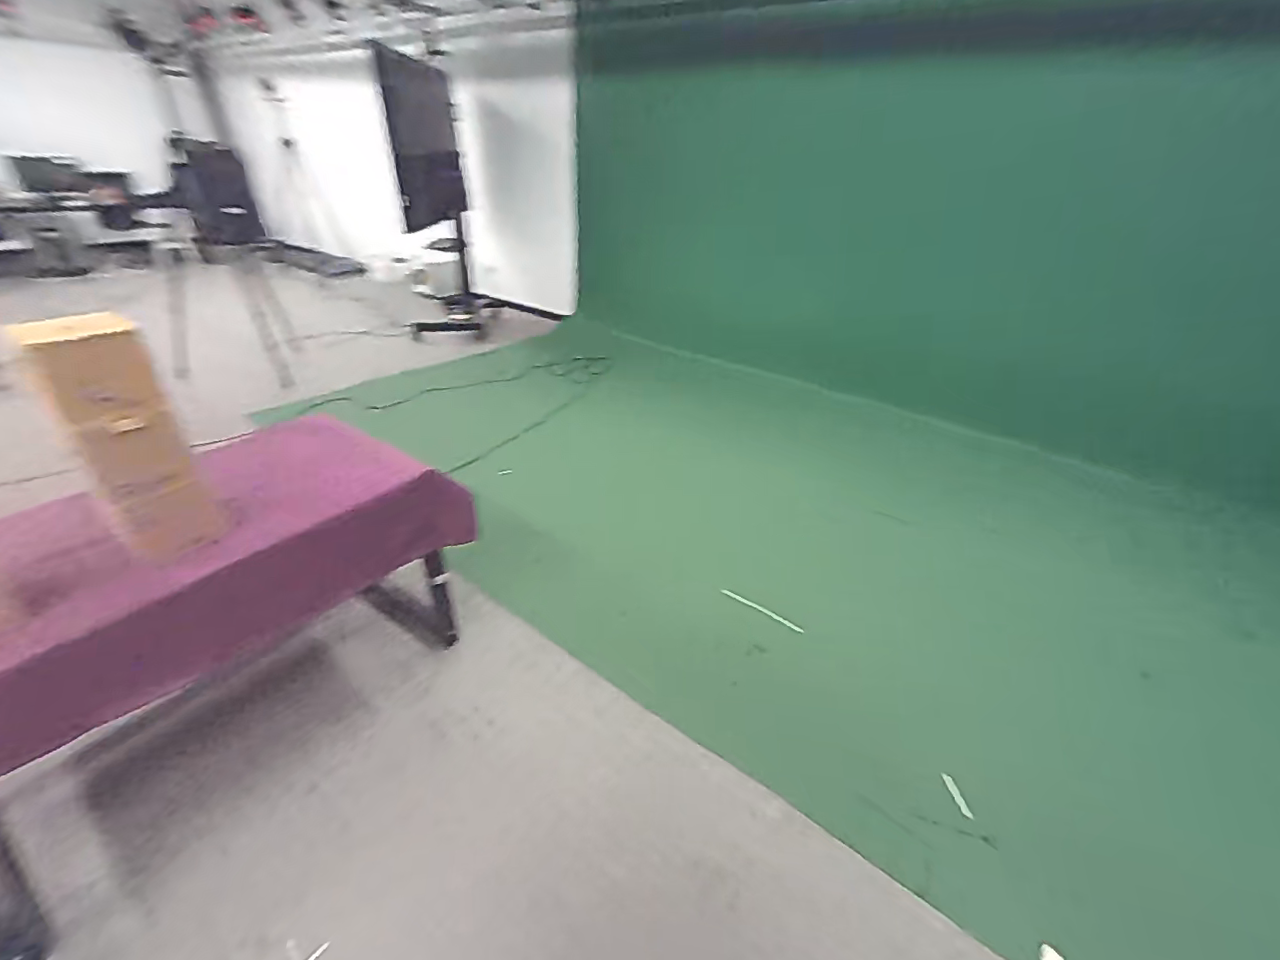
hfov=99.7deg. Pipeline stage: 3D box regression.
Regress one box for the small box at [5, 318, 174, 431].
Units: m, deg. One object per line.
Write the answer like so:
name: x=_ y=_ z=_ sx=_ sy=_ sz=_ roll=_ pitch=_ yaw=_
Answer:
small box: x=-1.087 y=-0.212 z=1.078 sx=0.179 sy=0.176 sz=0.168 roll=21 pitch=35 yaw=27

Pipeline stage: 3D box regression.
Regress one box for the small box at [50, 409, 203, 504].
small box: x=-1.086 y=-0.068 z=1.155 sx=0.179 sy=0.176 sz=0.168 roll=20 pitch=35 yaw=29
